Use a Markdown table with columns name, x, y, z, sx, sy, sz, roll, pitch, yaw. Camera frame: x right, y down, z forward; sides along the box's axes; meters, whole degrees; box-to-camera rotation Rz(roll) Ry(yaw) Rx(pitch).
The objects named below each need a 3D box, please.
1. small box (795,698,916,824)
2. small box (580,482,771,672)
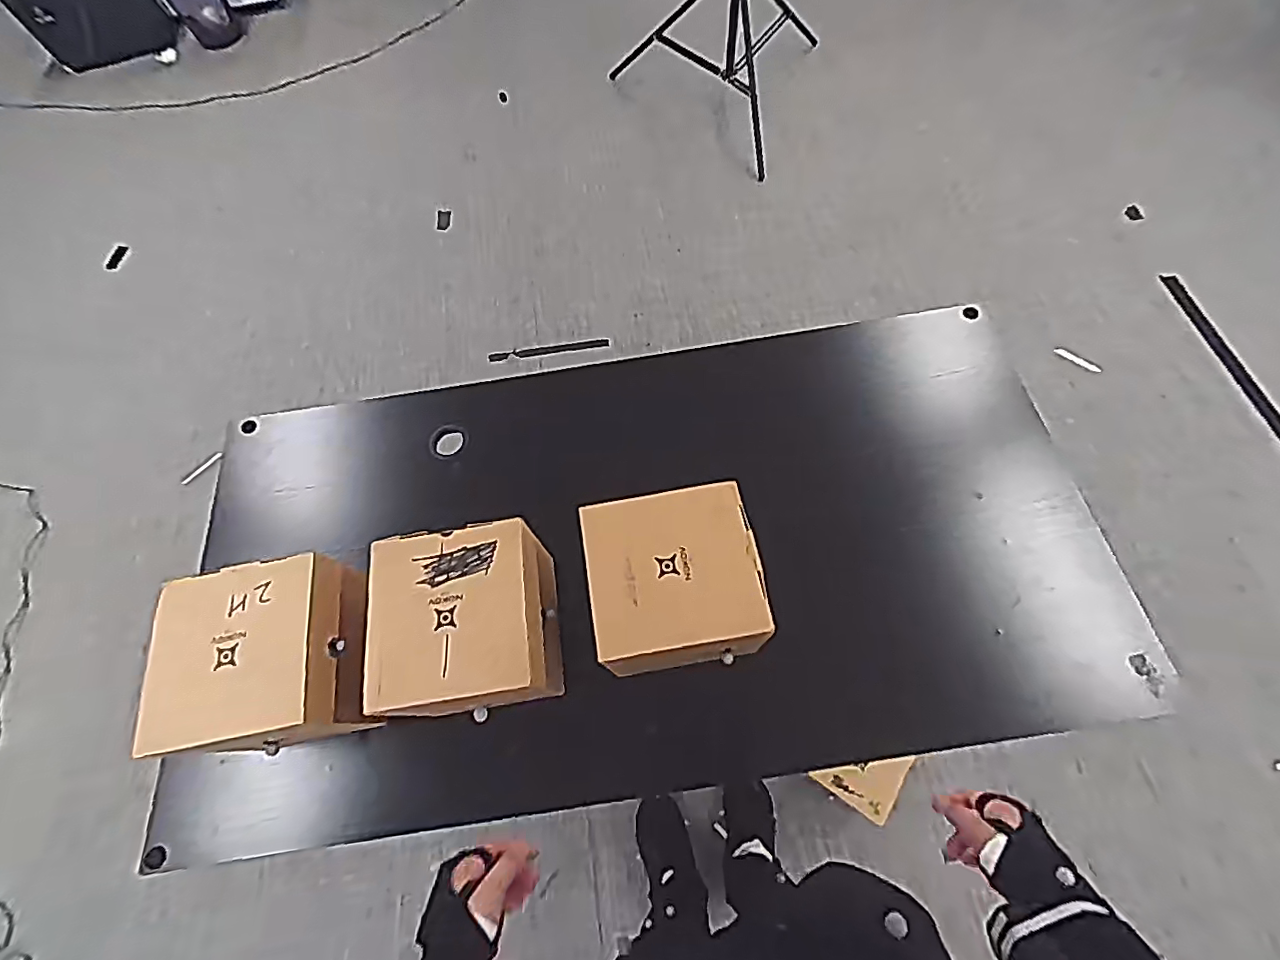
| name | x | y | z | sx | sy | sz | roll | pitch | yaw |
| --- | --- | --- | --- | --- | --- | --- | --- | --- | --- |
| small box | 0.459 | 0.601 | 1.180 | 0.168 | 0.176 | 0.179 | 31 | 72 | 17 |
| small box | 0.036 | 0.120 | 0.629 | 0.179 | 0.176 | 0.168 | -10 | 65 | 1 |
